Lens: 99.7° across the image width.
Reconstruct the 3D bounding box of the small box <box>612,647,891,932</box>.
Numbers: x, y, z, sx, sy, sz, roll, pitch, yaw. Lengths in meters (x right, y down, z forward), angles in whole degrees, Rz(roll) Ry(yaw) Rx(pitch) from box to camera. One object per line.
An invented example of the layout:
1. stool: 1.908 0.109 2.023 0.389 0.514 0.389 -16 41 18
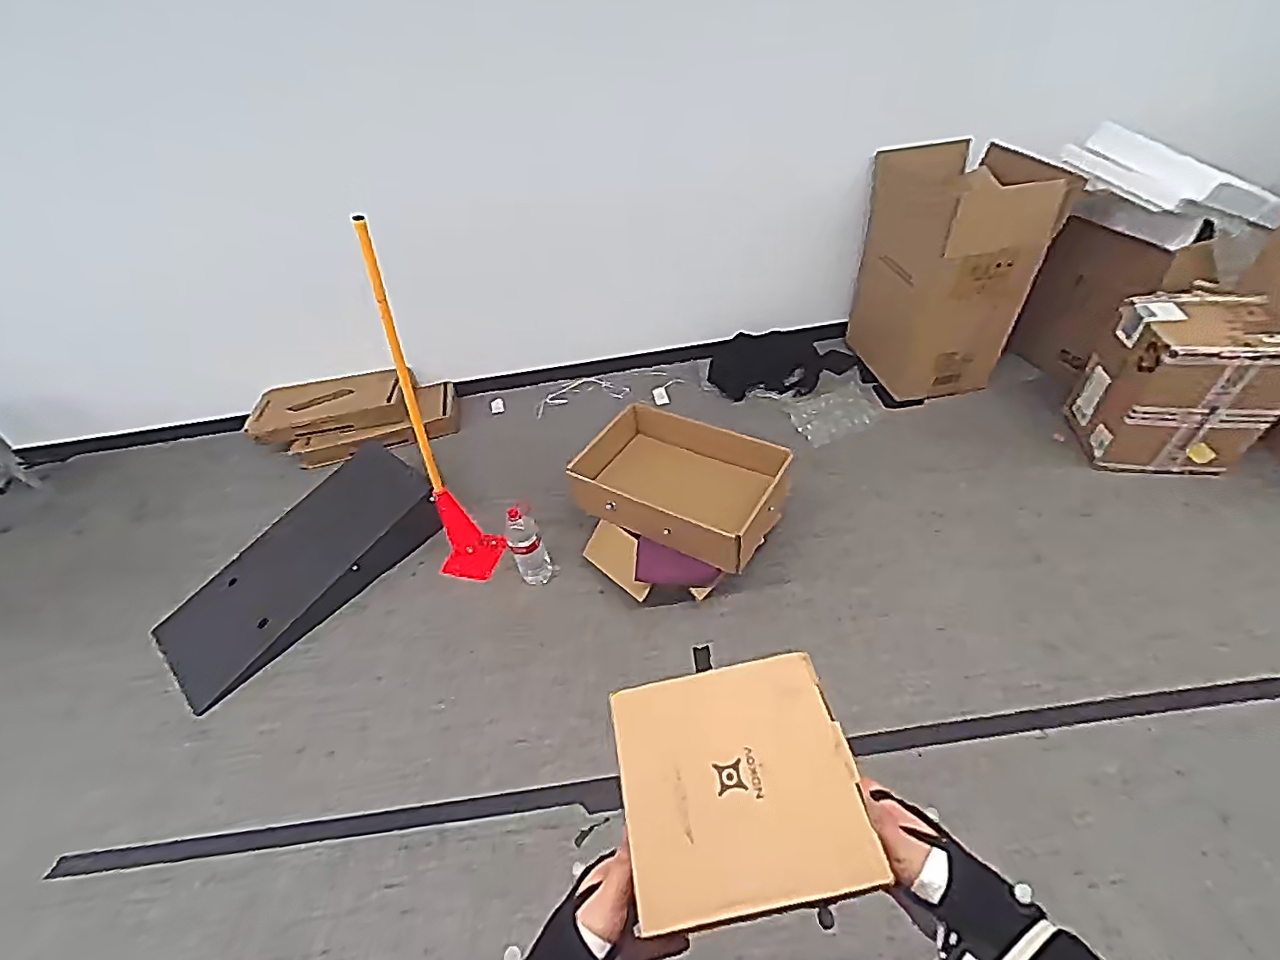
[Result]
1. small box: 0.086 0.273 0.474 0.179 0.176 0.168 -15 48 1
